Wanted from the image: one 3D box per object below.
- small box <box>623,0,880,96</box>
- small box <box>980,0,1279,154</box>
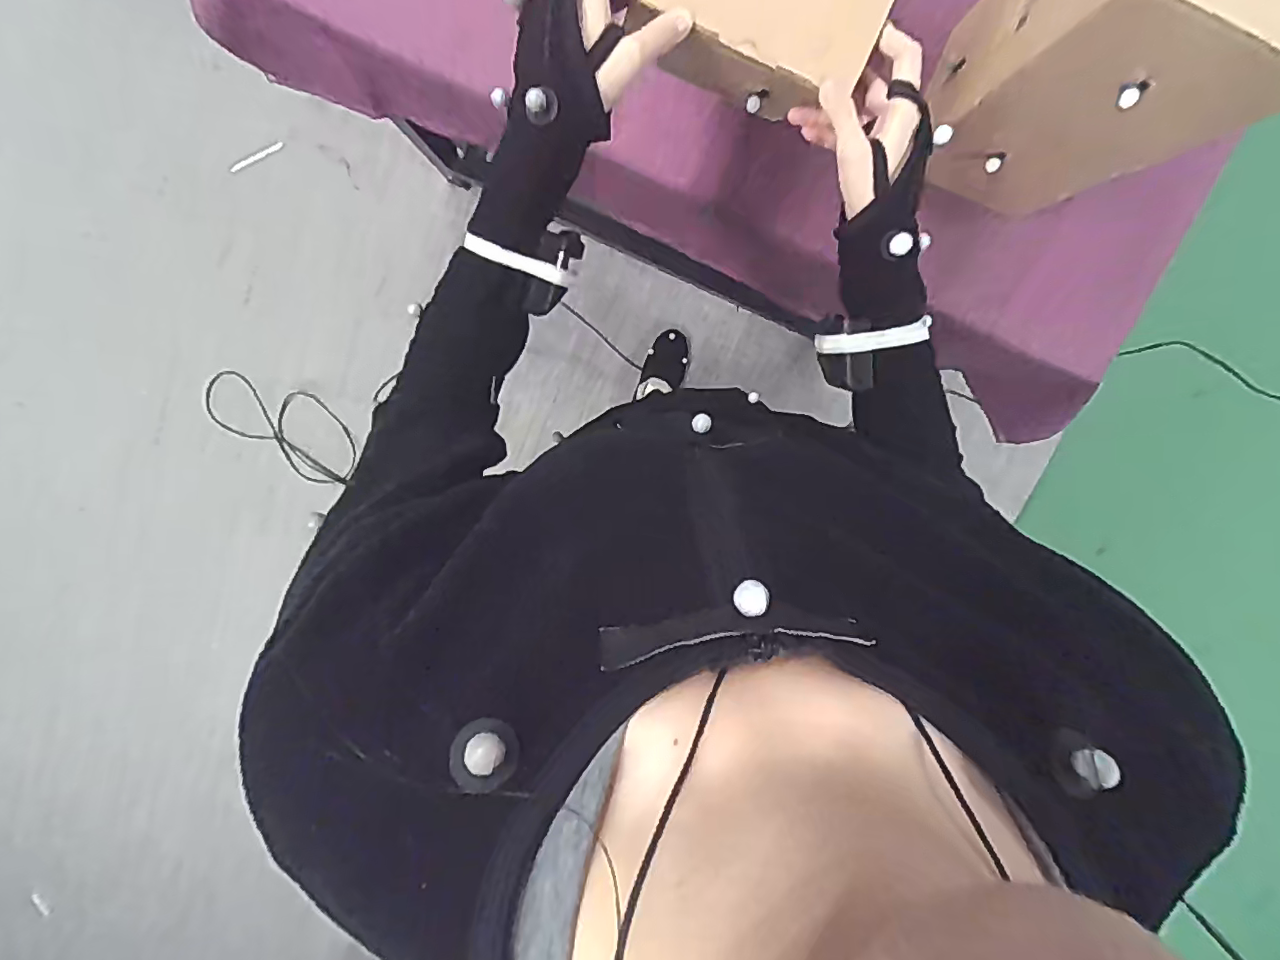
[{"bbox_3d":[0.091,-0.413,0.393,0.168,0.176,0.179,15,116,-15],"label":"small box"},{"bbox_3d":[0.429,-0.396,0.430,0.179,0.176,0.168,21,99,-4],"label":"small box"}]
